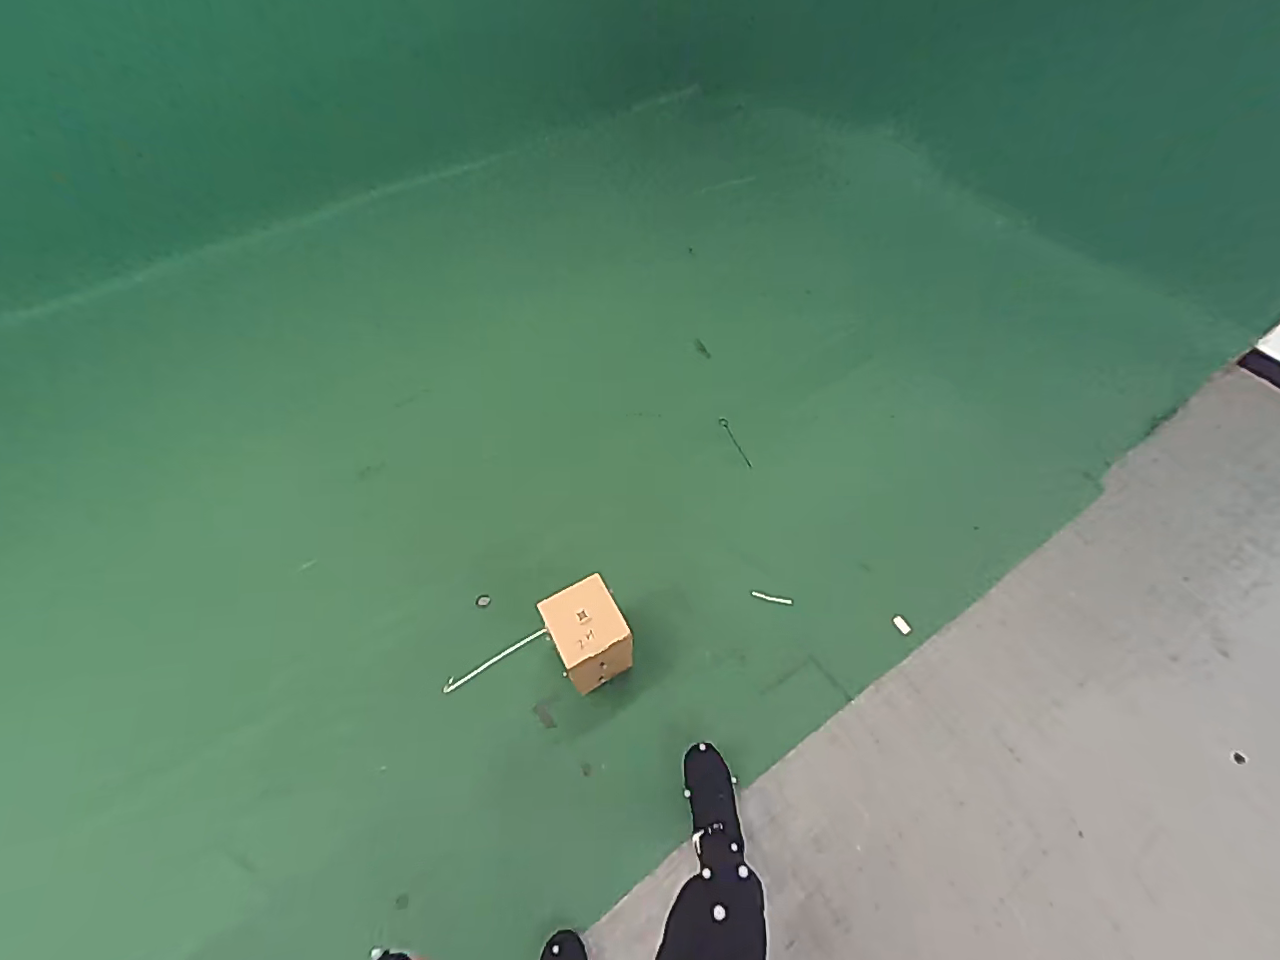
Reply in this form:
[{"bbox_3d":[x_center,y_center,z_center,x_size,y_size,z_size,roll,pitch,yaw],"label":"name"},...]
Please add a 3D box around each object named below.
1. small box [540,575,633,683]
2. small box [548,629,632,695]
[{"bbox_3d":[-0.129,0.369,1.323,0.168,0.176,0.179,-25,62,-14],"label":"small box"},{"bbox_3d":[-0.133,0.453,1.464,0.168,0.176,0.179,-27,63,-15],"label":"small box"}]
